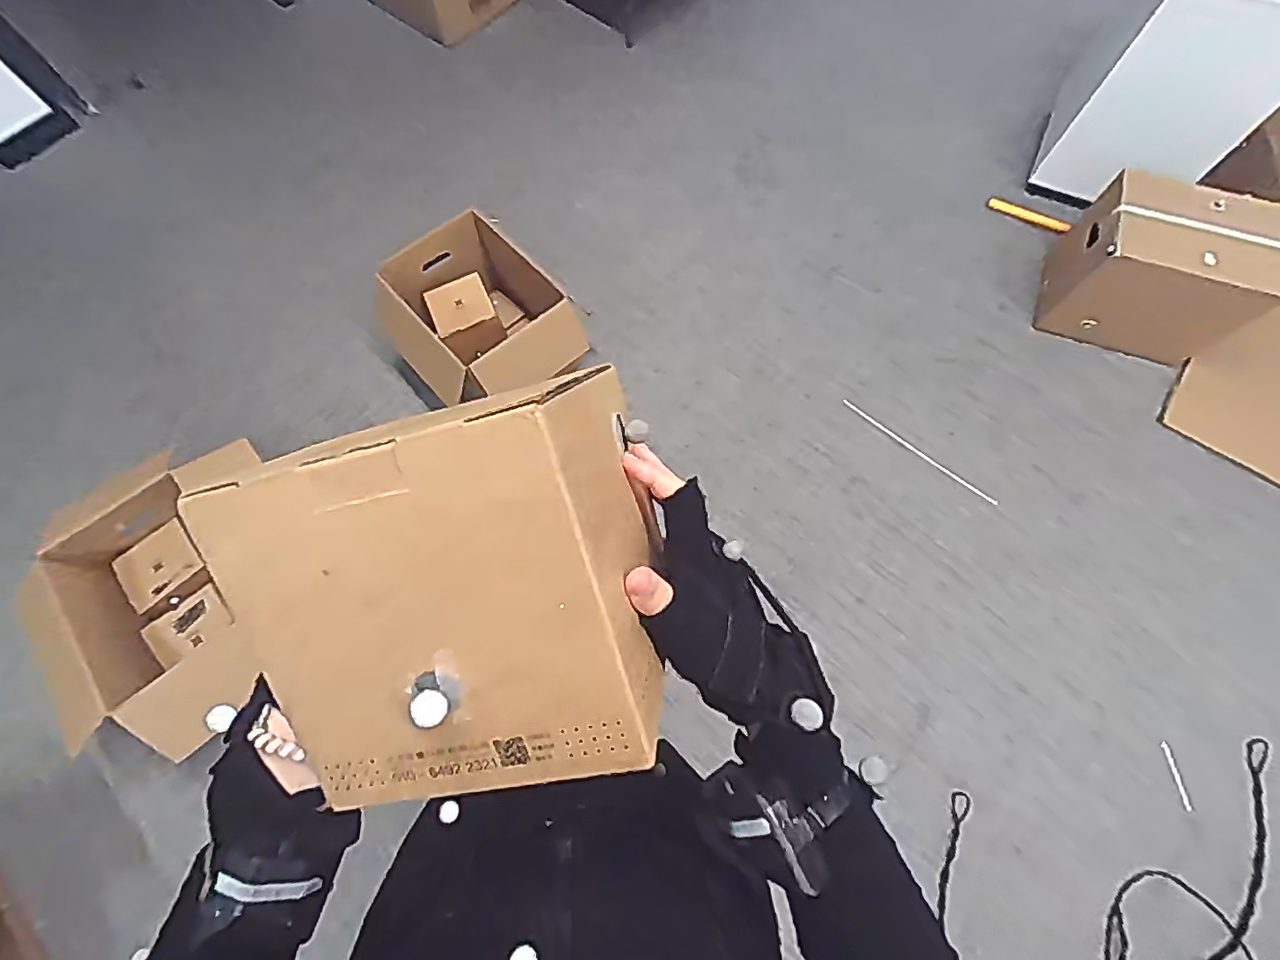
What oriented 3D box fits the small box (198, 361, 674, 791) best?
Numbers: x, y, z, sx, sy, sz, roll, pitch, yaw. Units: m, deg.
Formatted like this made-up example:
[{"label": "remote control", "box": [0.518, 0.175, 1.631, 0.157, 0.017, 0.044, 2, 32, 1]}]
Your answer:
[{"label": "small box", "box": [-0.081, 0.038, 0.312, 0.168, 0.179, 0.176, -13, 105, 11]}]
